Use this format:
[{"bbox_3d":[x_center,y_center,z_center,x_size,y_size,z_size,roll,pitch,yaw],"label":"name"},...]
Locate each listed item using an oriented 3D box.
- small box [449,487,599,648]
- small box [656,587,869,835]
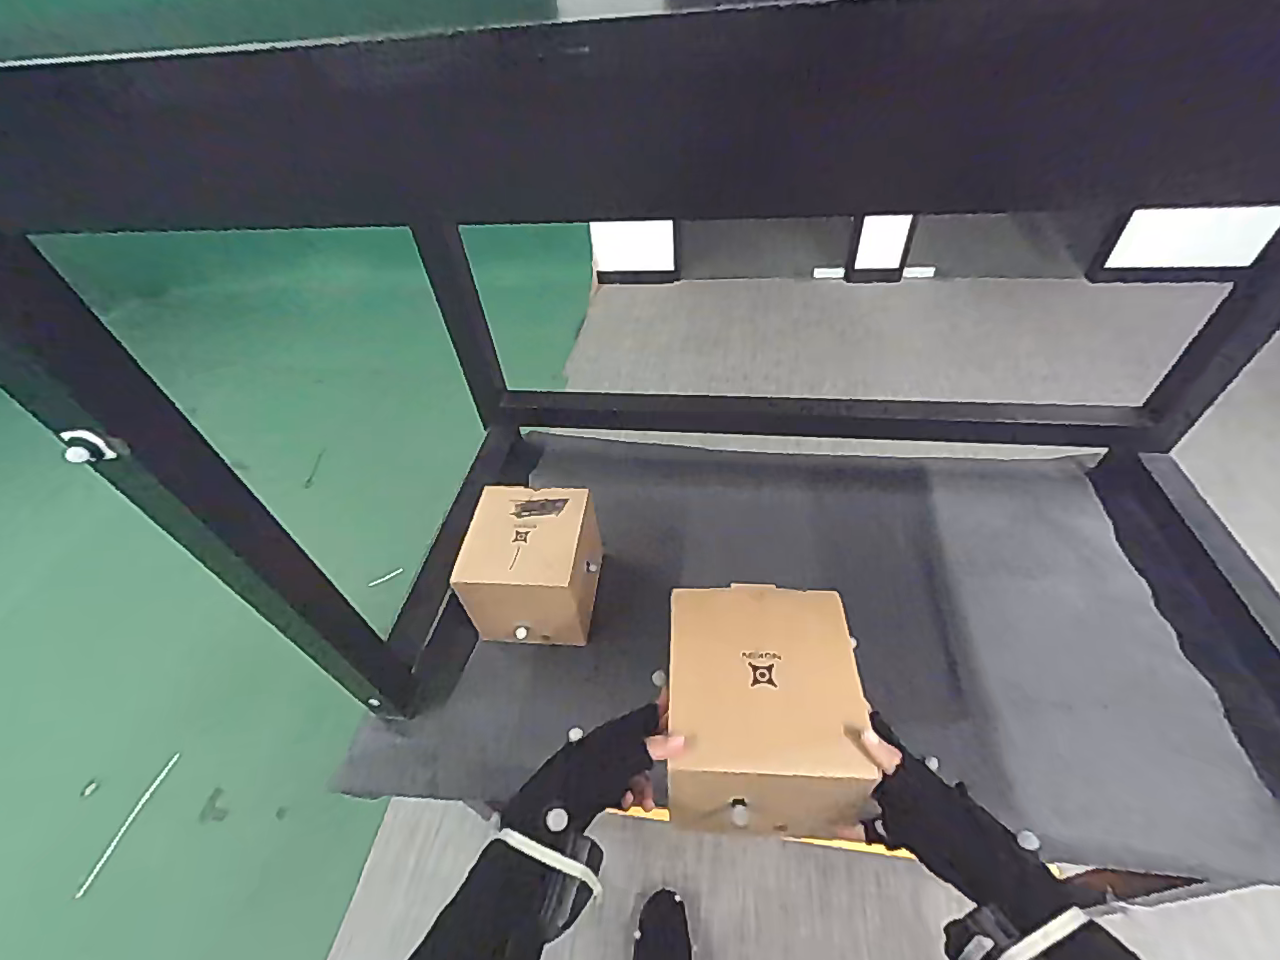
[{"bbox_3d":[-0.161,0.131,0.823,0.168,0.176,0.179,1,47,7],"label":"small box"},{"bbox_3d":[0.107,0.225,0.530,0.168,0.176,0.179,-1,41,5],"label":"small box"}]
